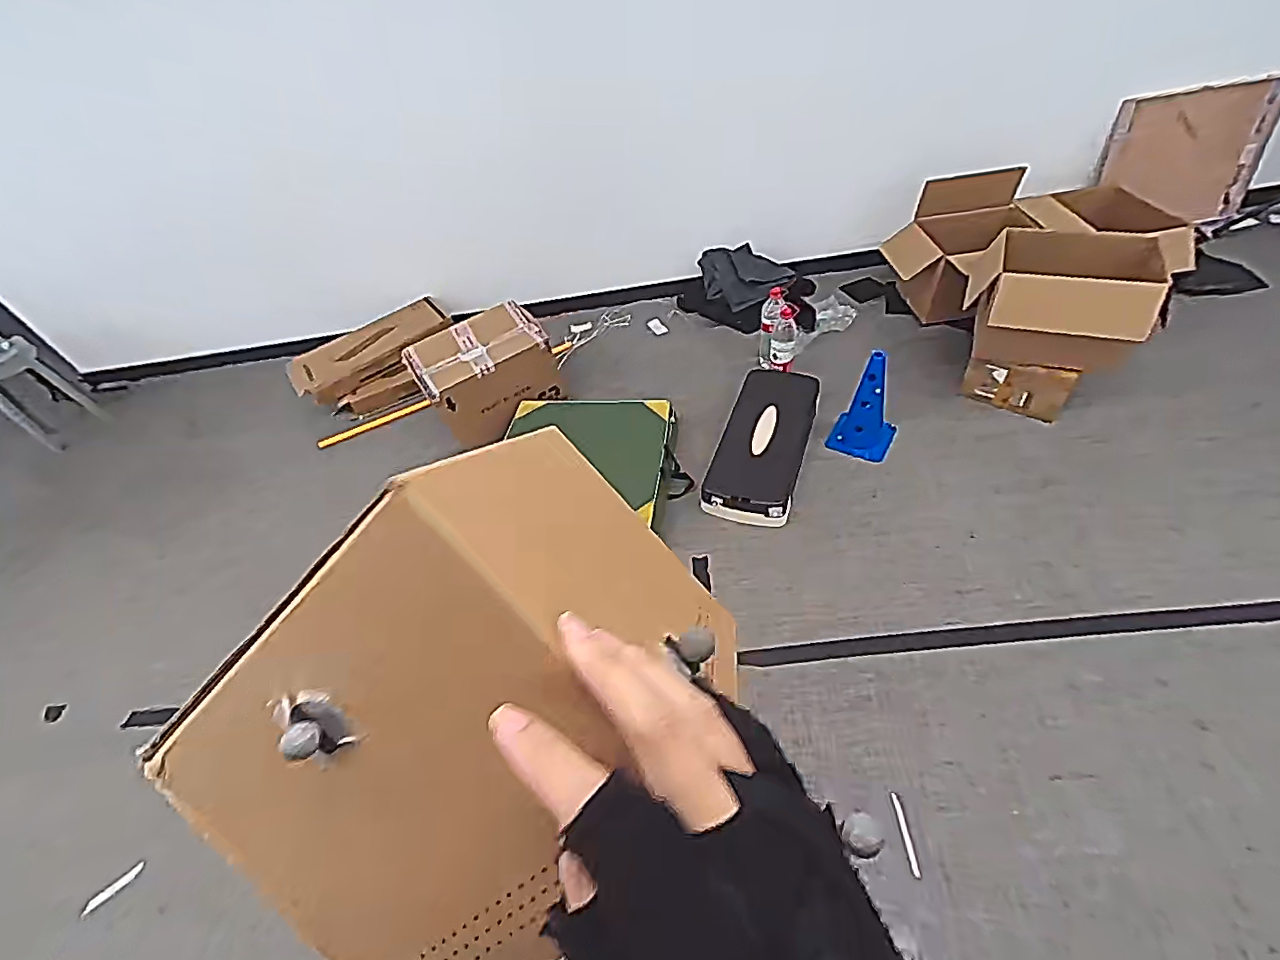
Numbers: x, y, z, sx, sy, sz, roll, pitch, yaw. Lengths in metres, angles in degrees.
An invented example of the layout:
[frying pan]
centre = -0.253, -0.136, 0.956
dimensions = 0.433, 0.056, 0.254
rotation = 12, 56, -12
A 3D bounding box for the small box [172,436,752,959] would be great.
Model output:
[small box]
centre = -0.065, 0.105, 0.277
dimensions = 0.179, 0.168, 0.176
rotation = -43, 92, 16
